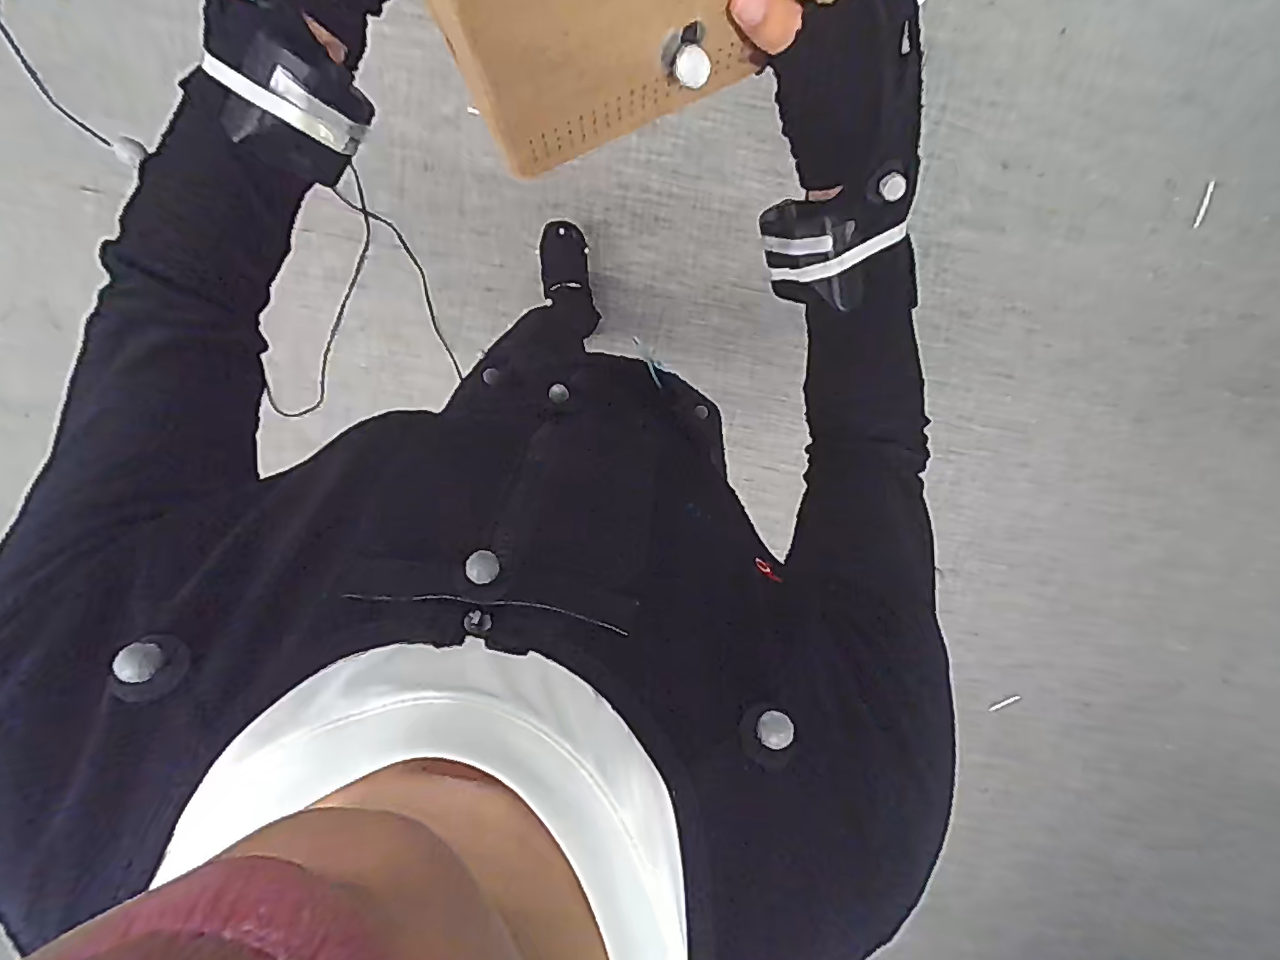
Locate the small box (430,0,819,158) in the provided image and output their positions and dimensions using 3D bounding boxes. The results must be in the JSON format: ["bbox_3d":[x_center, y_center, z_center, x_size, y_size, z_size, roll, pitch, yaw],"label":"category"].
[{"bbox_3d":[-0.014,-0.258,0.183,0.179,0.176,0.168,-26,91,-2],"label":"small box"}]
